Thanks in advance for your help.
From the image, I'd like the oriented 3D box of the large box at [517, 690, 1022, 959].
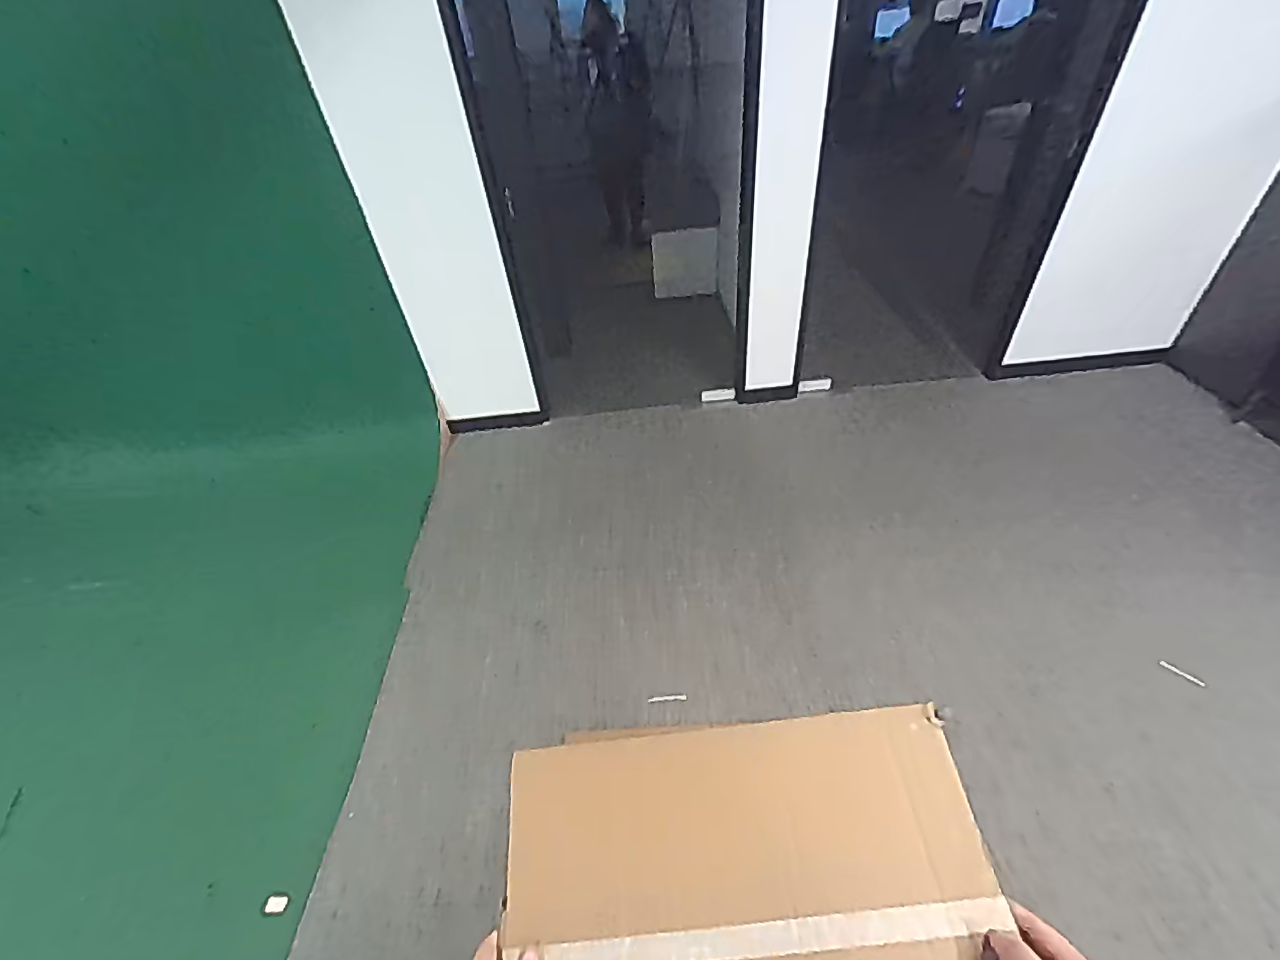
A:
[{"bbox_3d":[0.105,0.437,0.567,0.408,0.320,0.320,-7,58,1],"label":"large box"}]
